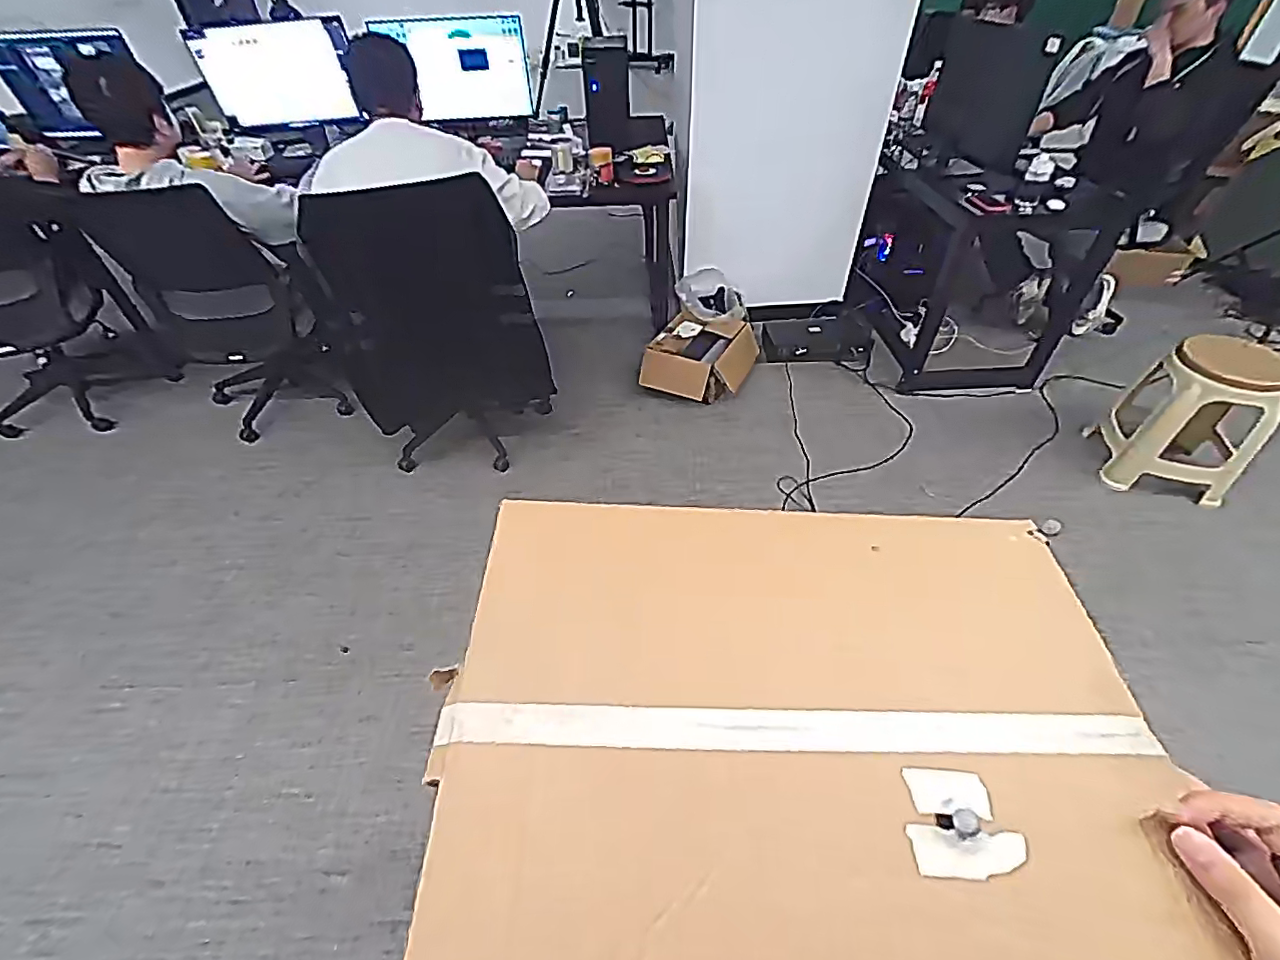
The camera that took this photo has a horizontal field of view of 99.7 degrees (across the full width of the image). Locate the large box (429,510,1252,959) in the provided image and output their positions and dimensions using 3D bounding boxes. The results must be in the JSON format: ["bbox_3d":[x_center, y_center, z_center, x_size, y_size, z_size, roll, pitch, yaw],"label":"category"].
[{"bbox_3d":[0.089,0.242,0.434,0.408,0.320,0.320,3,51,-3],"label":"large box"}]
